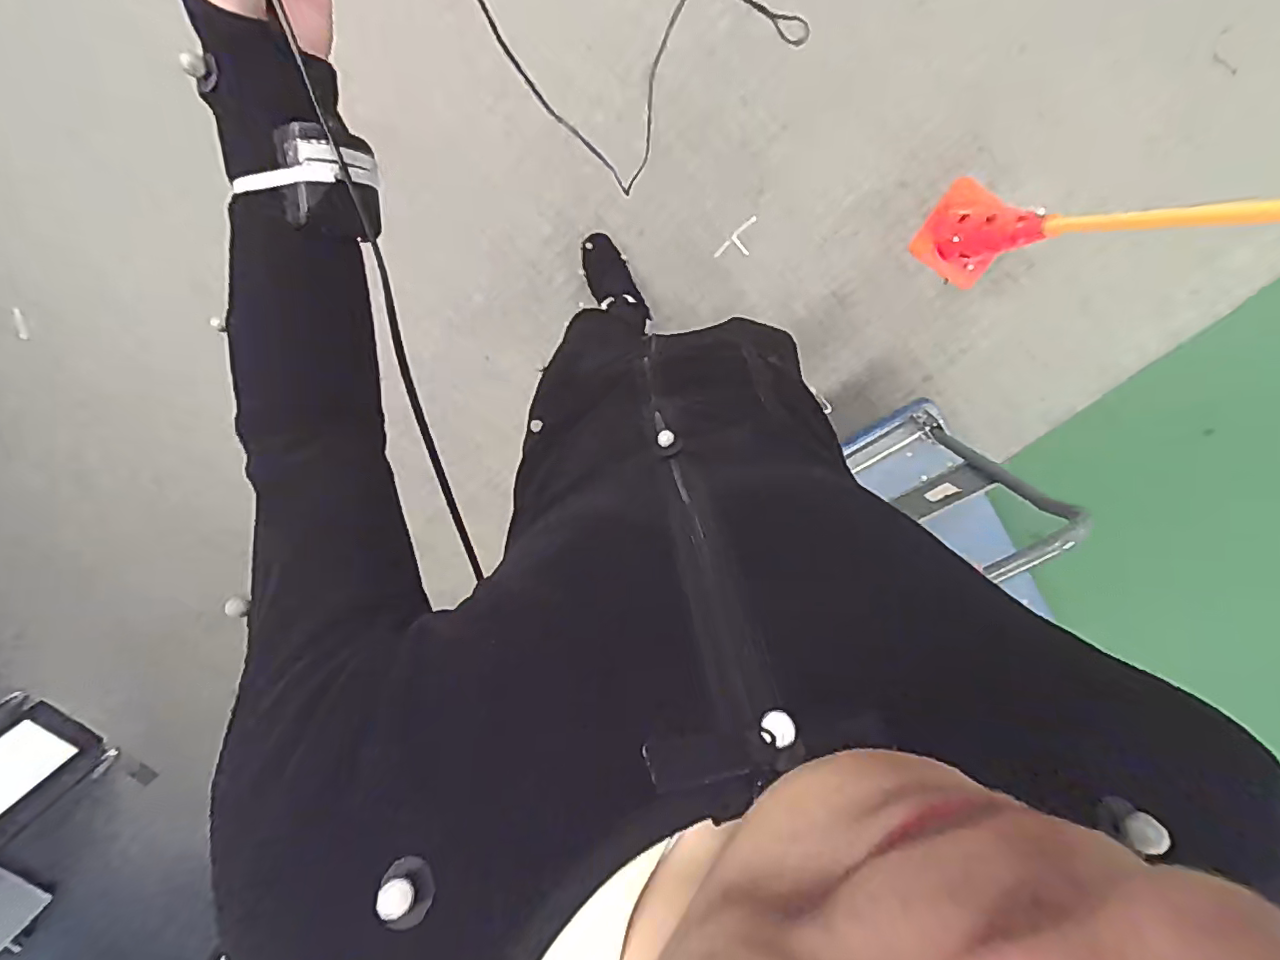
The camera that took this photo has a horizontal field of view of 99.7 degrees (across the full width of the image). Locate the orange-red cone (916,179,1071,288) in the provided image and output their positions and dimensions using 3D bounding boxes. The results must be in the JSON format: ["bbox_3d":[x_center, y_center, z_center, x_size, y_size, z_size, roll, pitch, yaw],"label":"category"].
[{"bbox_3d":[0.805,-0.545,1.181,0.198,0.360,0.199,31,109,-9],"label":"orange-red cone"}]
